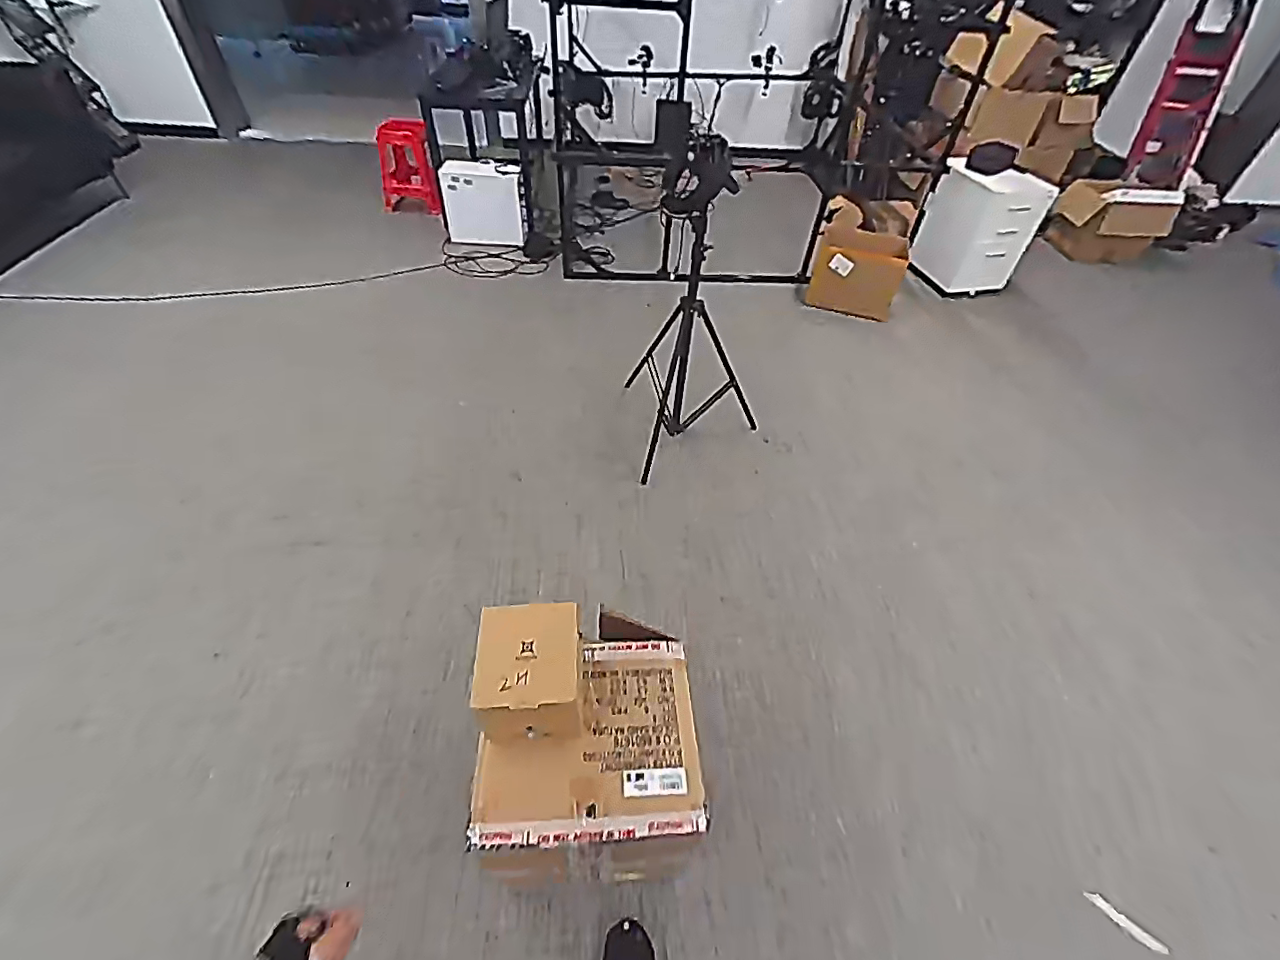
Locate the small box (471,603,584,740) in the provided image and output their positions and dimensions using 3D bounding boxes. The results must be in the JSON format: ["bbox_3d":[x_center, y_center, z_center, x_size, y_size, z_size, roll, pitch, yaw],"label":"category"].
[{"bbox_3d":[-0.185,0.335,0.944,0.168,0.176,0.179,-2,50,-4],"label":"small box"}]
